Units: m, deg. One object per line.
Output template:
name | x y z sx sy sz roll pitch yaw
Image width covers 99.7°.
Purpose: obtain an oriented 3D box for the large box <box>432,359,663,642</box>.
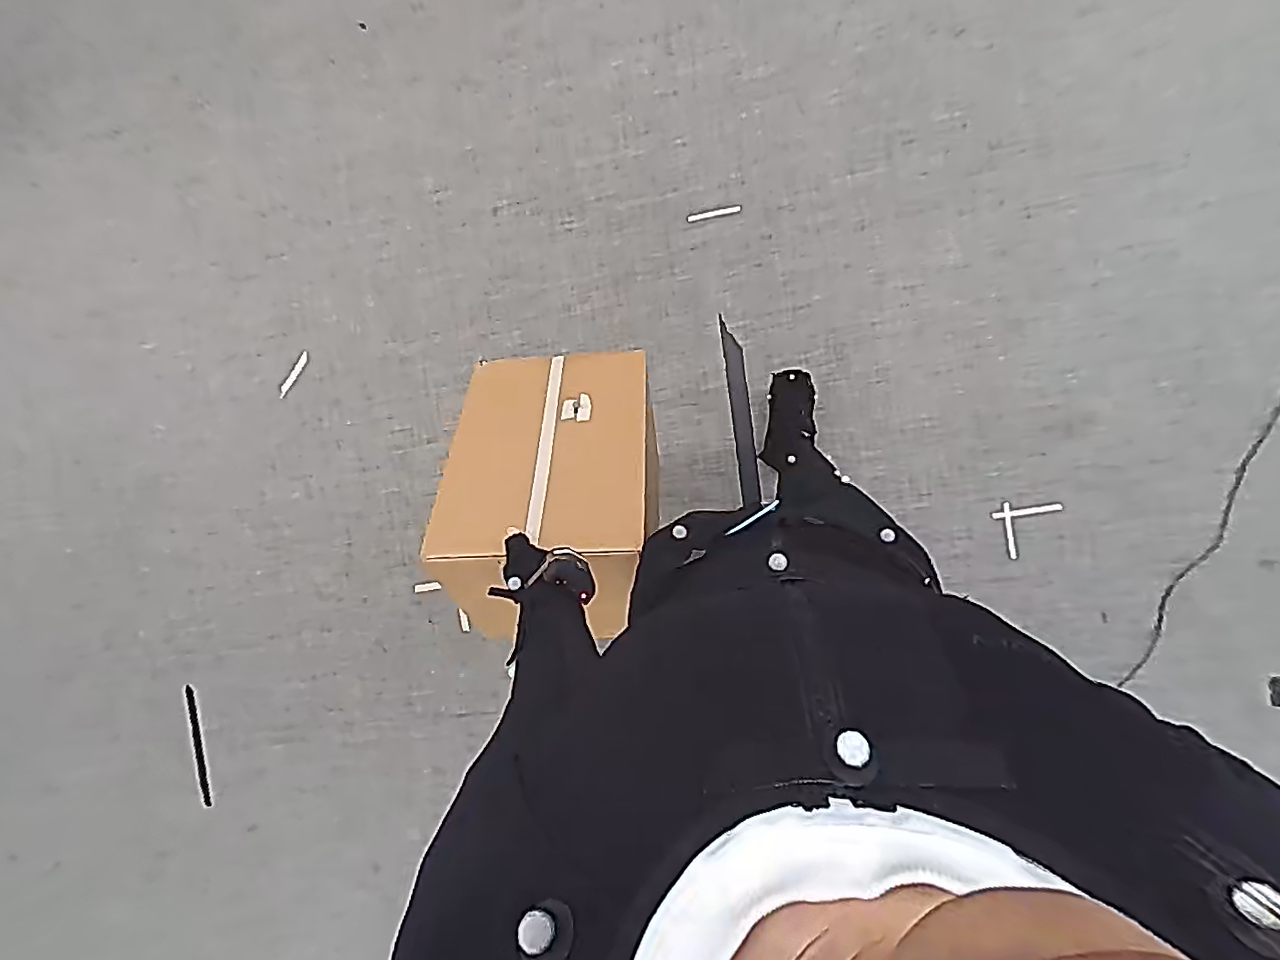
large box | -0.127 0.040 0.975 0.320 0.320 0.408 -2 52 4
